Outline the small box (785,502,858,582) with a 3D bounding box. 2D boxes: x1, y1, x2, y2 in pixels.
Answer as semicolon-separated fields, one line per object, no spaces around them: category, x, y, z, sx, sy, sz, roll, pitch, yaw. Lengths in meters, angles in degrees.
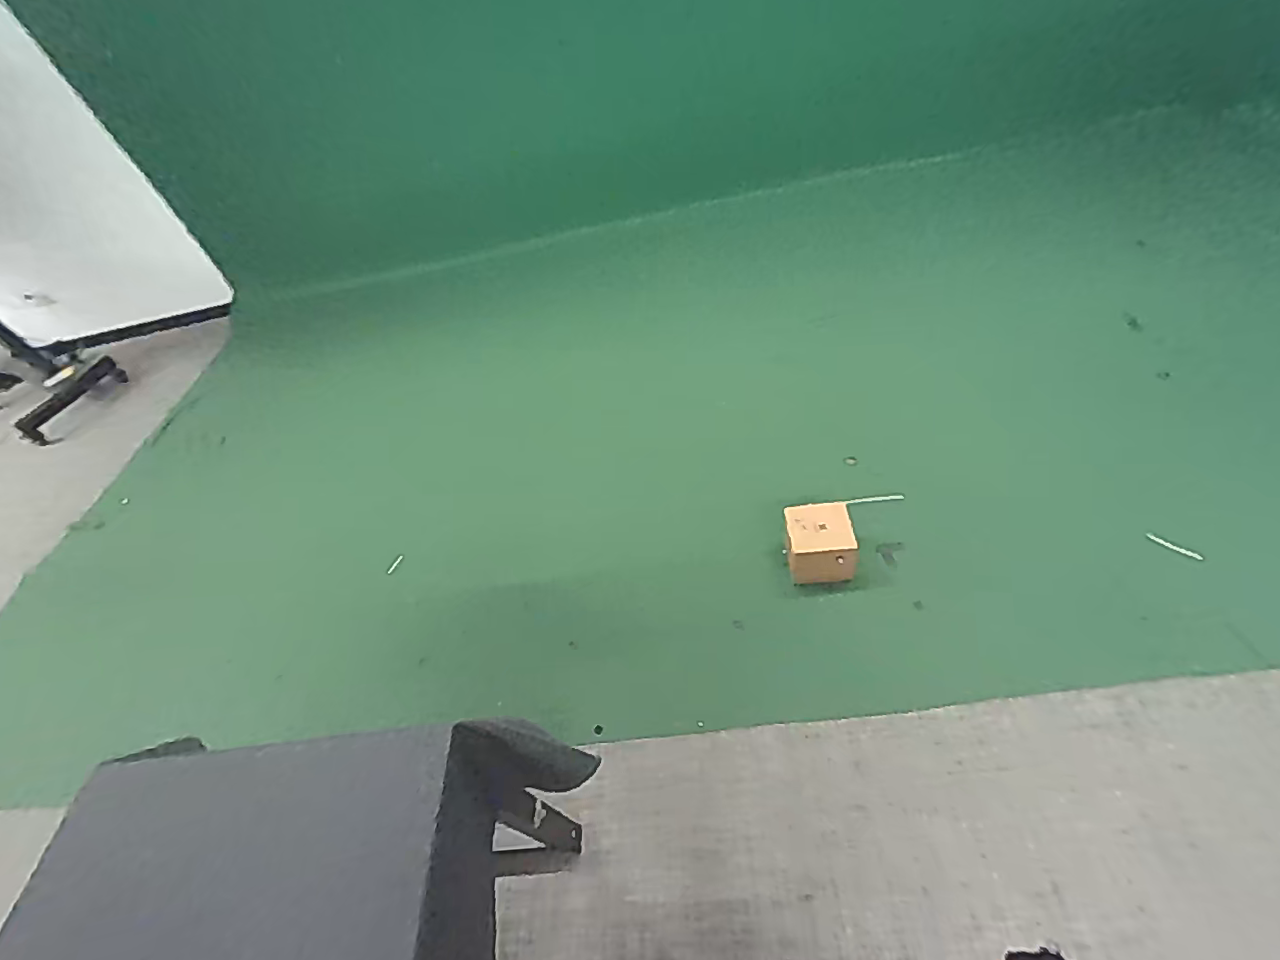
small box;0.528;0.186;1.598;0.179;0.176;0.168;-7;47;10
